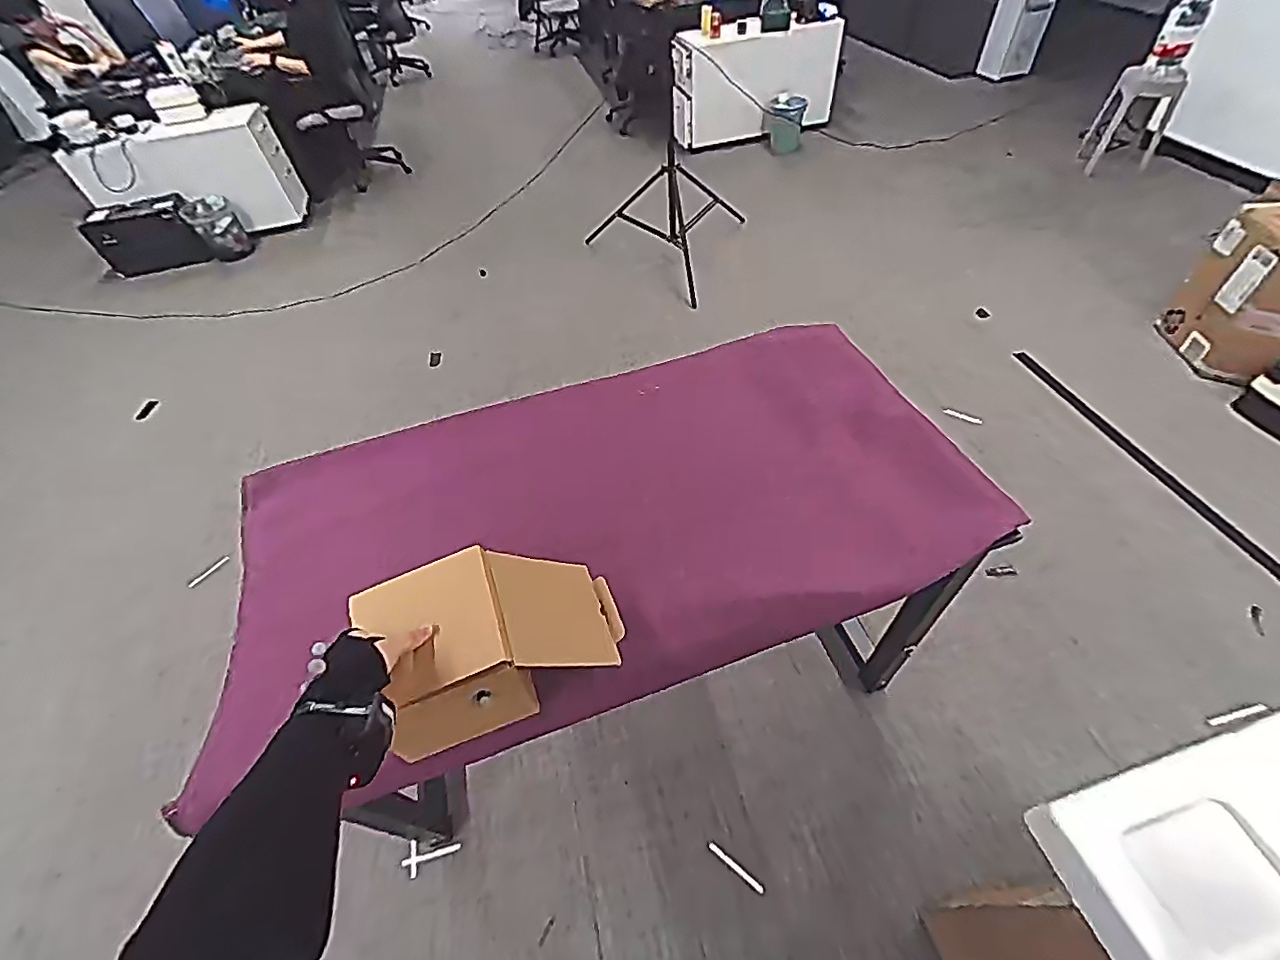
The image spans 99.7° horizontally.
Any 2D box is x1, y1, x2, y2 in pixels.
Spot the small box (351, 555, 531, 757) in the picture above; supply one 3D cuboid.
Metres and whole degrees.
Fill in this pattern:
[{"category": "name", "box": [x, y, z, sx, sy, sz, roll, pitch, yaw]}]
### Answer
[{"category": "small box", "box": [-0.248, 0.230, 0.701, 0.179, 0.176, 0.168, -18, 52, -11]}]
